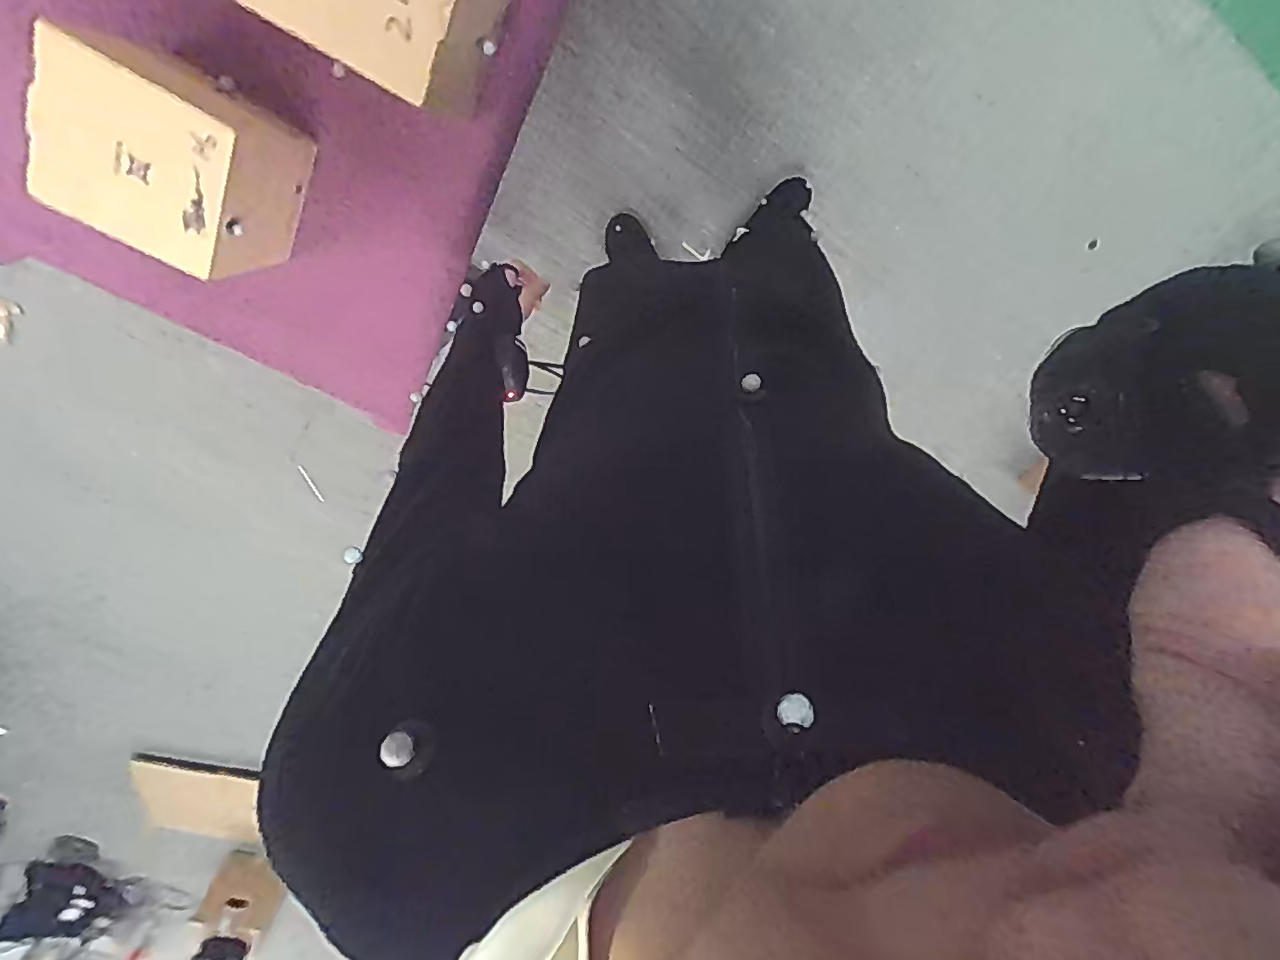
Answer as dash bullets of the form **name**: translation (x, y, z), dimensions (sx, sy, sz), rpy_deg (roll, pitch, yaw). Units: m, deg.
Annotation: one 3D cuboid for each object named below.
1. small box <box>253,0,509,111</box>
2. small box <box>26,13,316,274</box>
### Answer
- **small box**: translation (-0.248, -0.500, 0.538), dimensions (0.179, 0.176, 0.168), rpy_deg (25, 116, -14)
- **small box**: translation (-0.512, -0.362, 0.609), dimensions (0.179, 0.176, 0.168), rpy_deg (27, 117, -15)
